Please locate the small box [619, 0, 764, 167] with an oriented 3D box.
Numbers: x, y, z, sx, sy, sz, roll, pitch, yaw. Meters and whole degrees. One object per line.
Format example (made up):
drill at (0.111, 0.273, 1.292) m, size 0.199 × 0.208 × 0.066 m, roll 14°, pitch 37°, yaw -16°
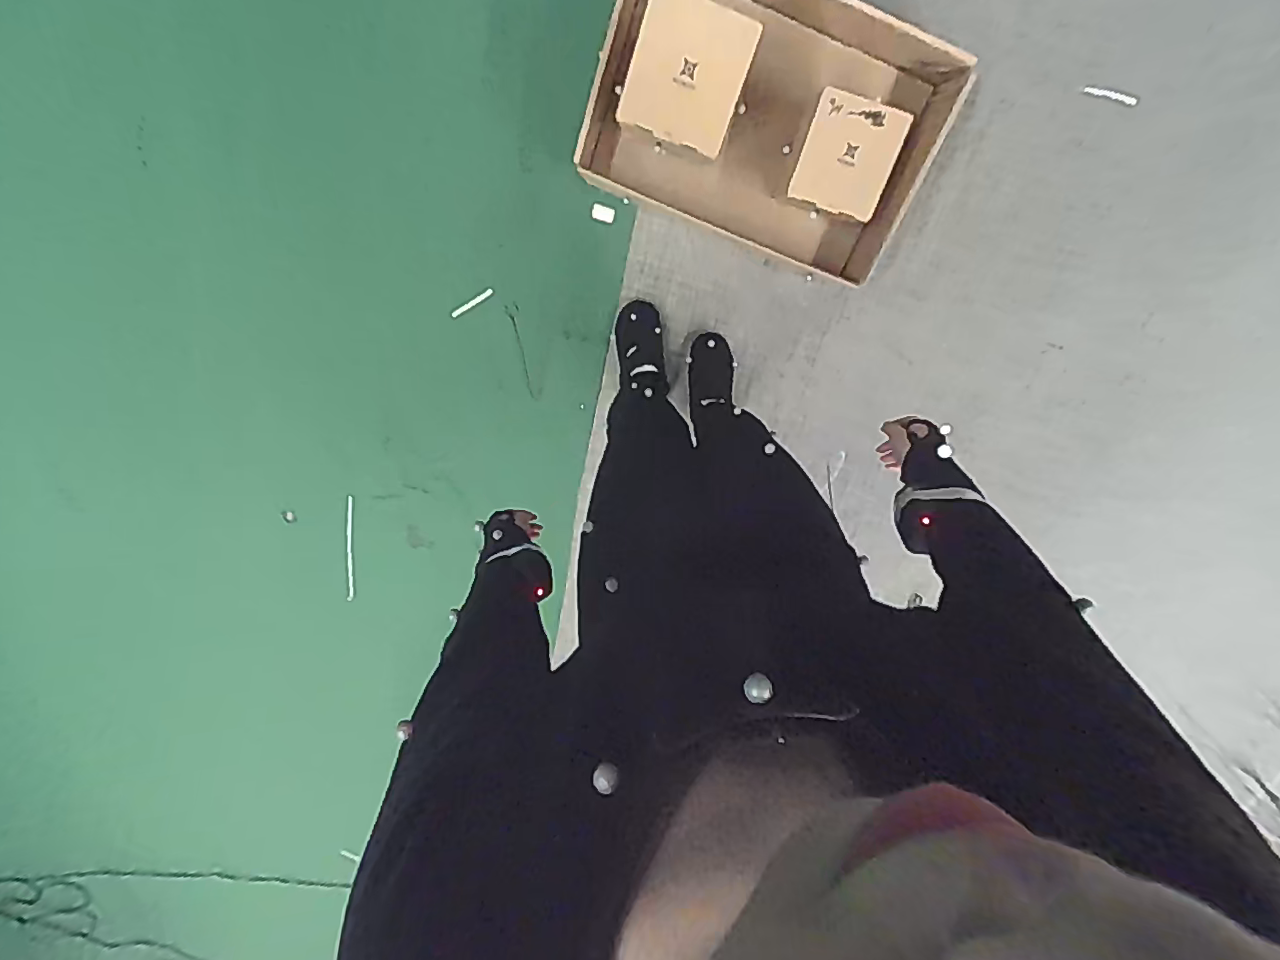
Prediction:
small box at (0.073, -0.625, 0.859) m, size 0.168 × 0.176 × 0.179 m, roll 19°, pitch 116°, yaw -7°
